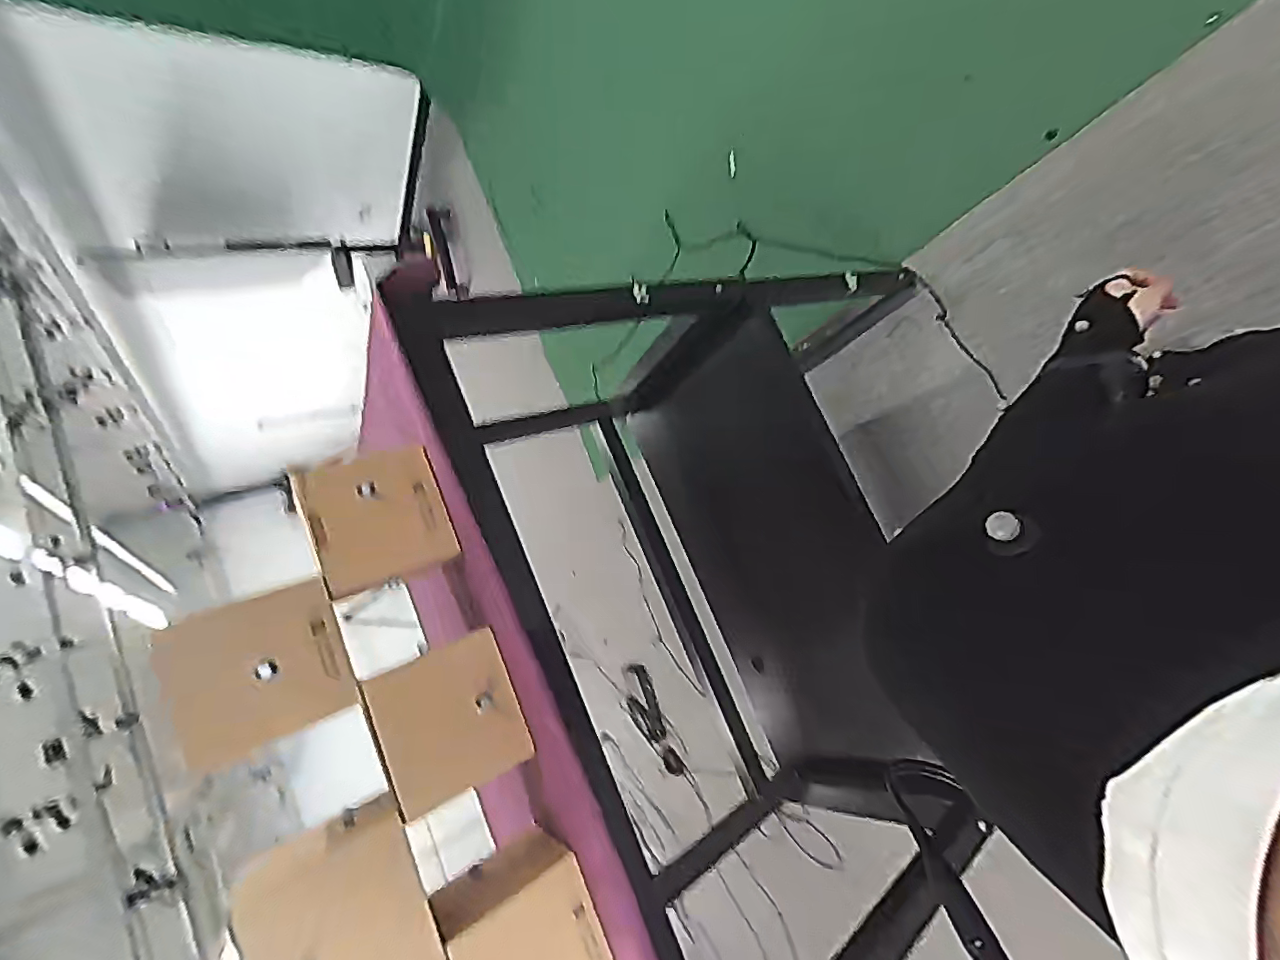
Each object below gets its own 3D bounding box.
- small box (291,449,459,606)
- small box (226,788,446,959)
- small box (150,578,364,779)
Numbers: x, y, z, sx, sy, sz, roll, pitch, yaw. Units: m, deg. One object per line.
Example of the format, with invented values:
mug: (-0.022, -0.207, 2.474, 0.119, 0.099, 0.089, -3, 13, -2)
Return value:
small box: (-0.377, 0.068, 0.777, 0.179, 0.176, 0.168, -29, 81, 57)
small box: (-0.339, 0.497, 0.623, 0.168, 0.176, 0.179, -34, 76, 56)
small box: (-0.457, 0.232, 0.670, 0.179, 0.176, 0.168, -30, 80, 56)
